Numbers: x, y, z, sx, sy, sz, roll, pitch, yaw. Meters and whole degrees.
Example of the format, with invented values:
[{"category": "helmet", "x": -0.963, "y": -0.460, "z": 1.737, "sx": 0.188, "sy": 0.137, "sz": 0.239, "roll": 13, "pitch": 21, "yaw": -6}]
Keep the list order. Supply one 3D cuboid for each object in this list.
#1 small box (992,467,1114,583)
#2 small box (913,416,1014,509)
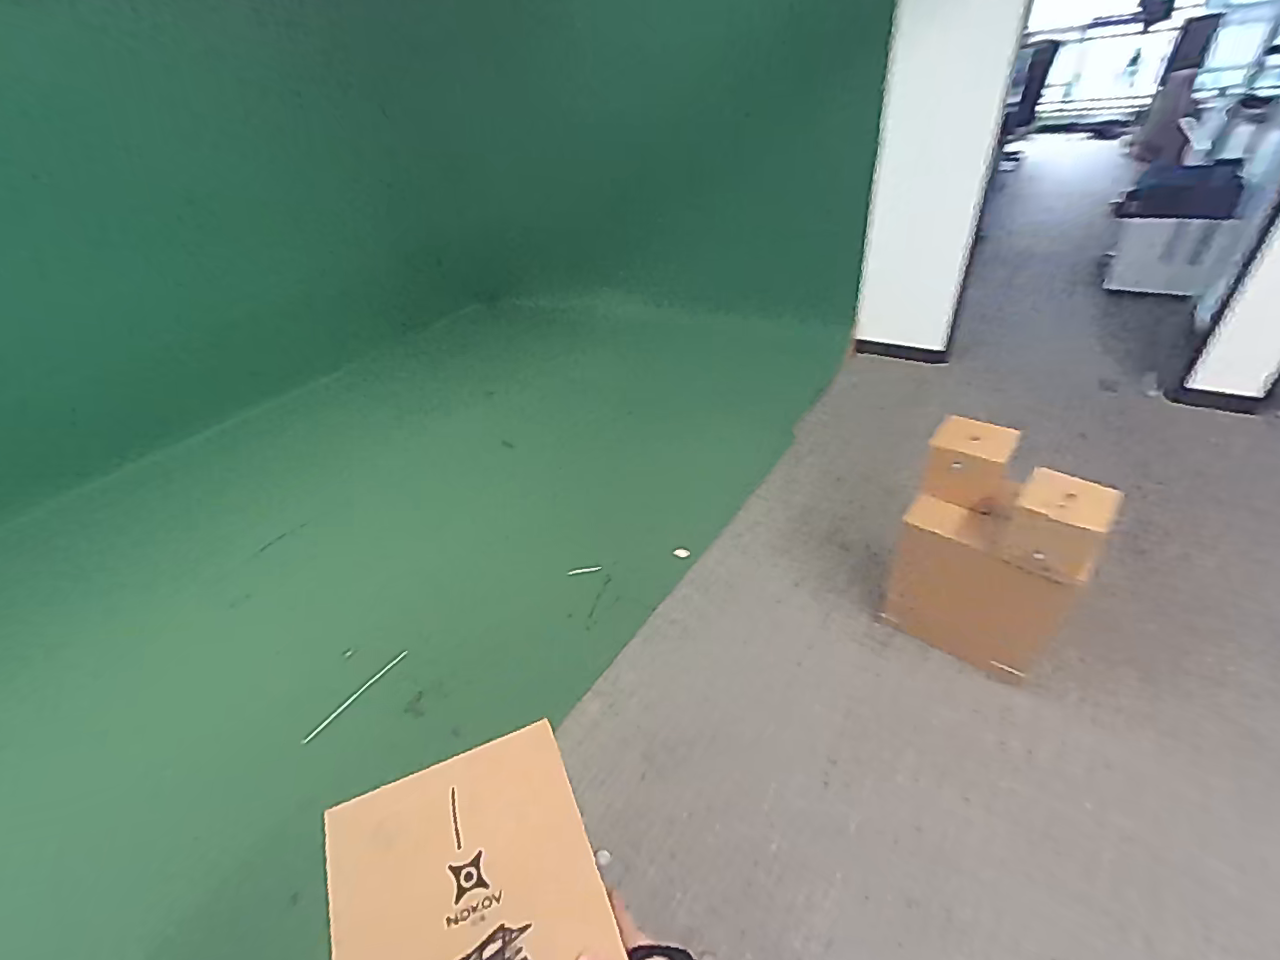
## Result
[{"category": "small box", "x": 0.956, "y": 0.102, "z": 1.263, "sx": 0.168, "sy": 0.176, "sz": 0.179, "roll": 26, "pitch": 49, "yaw": 36}, {"category": "small box", "x": 0.871, "y": -0.045, "z": 1.464, "sx": 0.179, "sy": 0.176, "sz": 0.168, "roll": 23, "pitch": 47, "yaw": 35}]
